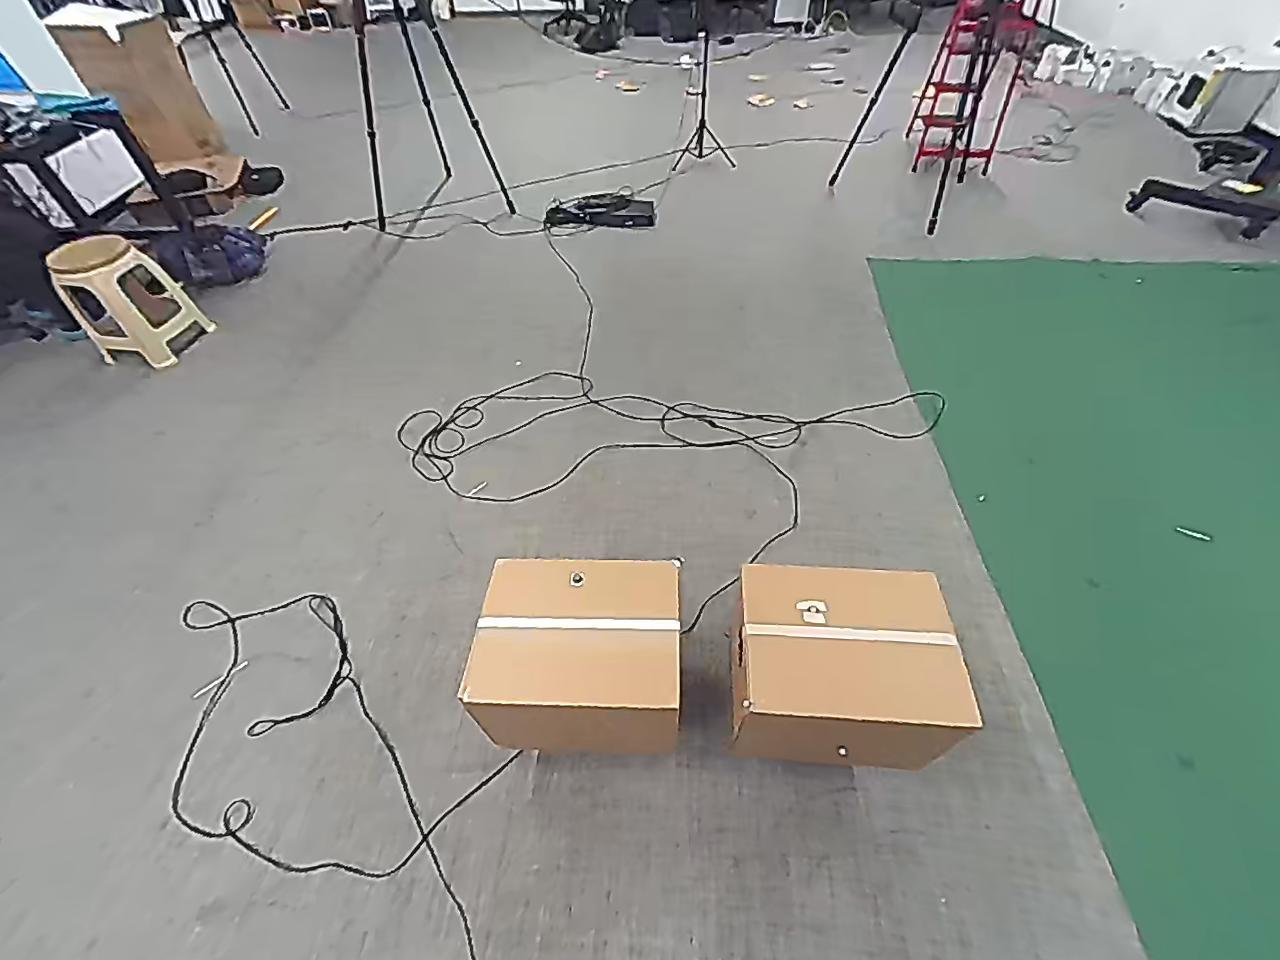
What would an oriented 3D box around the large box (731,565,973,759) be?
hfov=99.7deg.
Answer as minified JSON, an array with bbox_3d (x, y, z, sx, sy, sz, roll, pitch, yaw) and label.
[{"bbox_3d":[0.416,0.401,1.182,0.408,0.320,0.320,2,50,5],"label":"large box"}]
